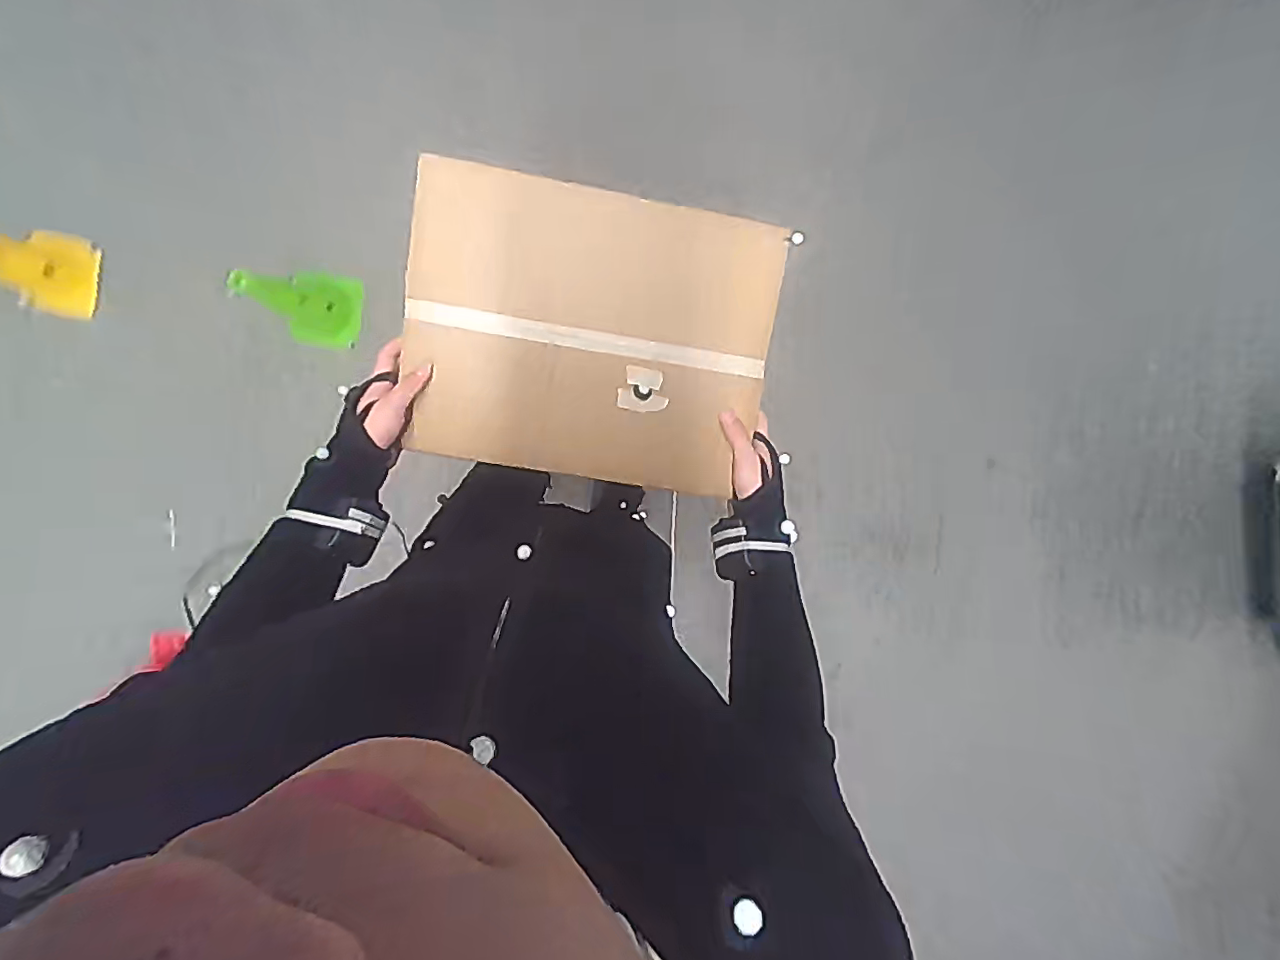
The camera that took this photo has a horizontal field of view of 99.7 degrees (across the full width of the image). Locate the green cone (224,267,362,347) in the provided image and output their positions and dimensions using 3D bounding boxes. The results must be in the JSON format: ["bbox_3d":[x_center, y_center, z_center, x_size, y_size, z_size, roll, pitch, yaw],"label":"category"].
[{"bbox_3d":[-0.908,-0.479,1.389,0.202,0.368,0.200,9,96,0],"label":"green cone"}]
